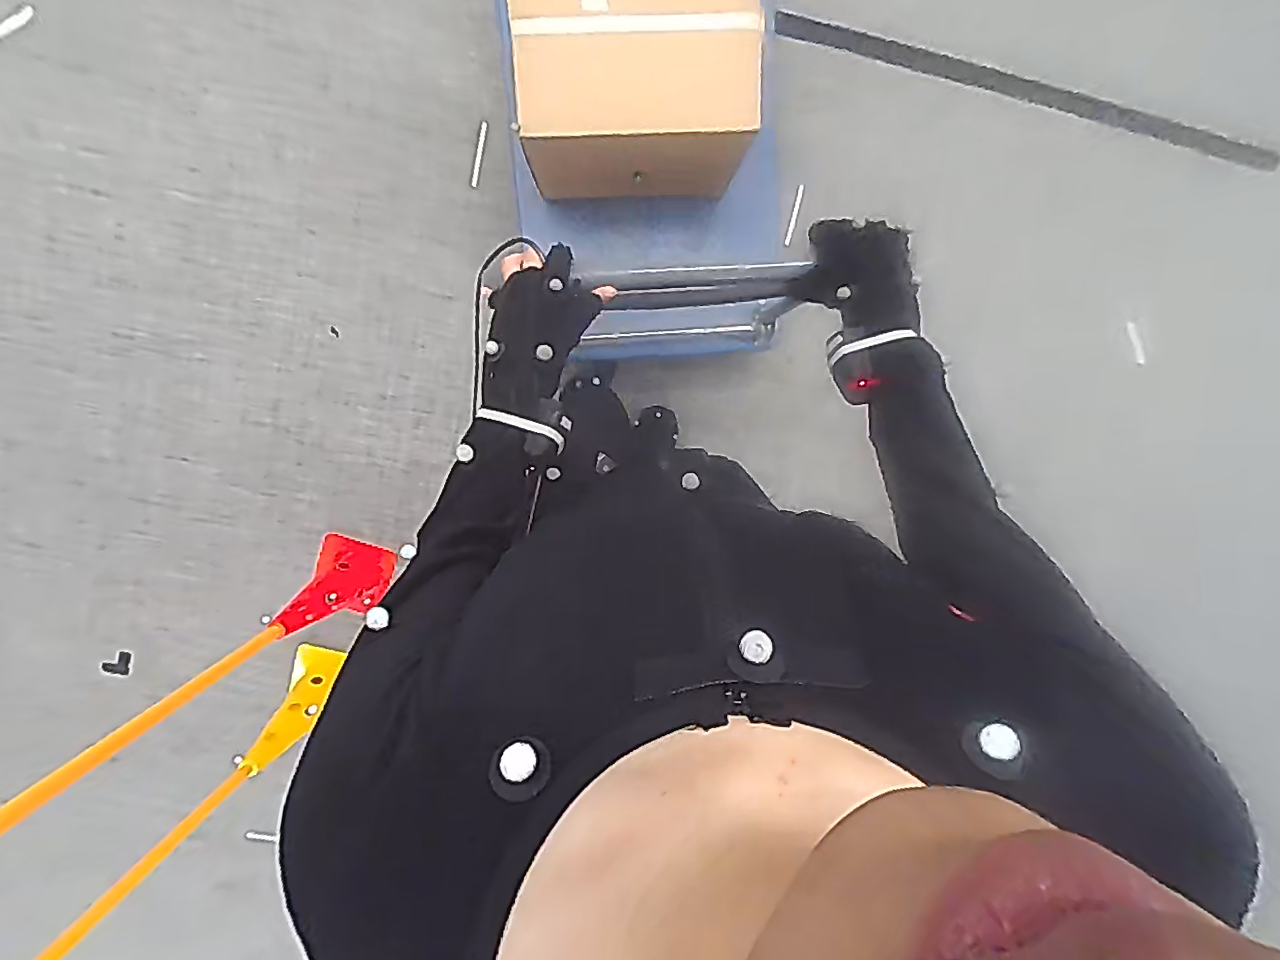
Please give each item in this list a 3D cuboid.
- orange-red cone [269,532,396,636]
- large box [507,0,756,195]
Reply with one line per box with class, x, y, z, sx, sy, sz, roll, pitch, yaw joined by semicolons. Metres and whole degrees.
orange-red cone;-0.770;0.280;1.299;0.198;0.360;0.199;20;96;-7
large box;-0.016;-0.757;1.019;0.408;0.320;0.320;-3;100;-2
